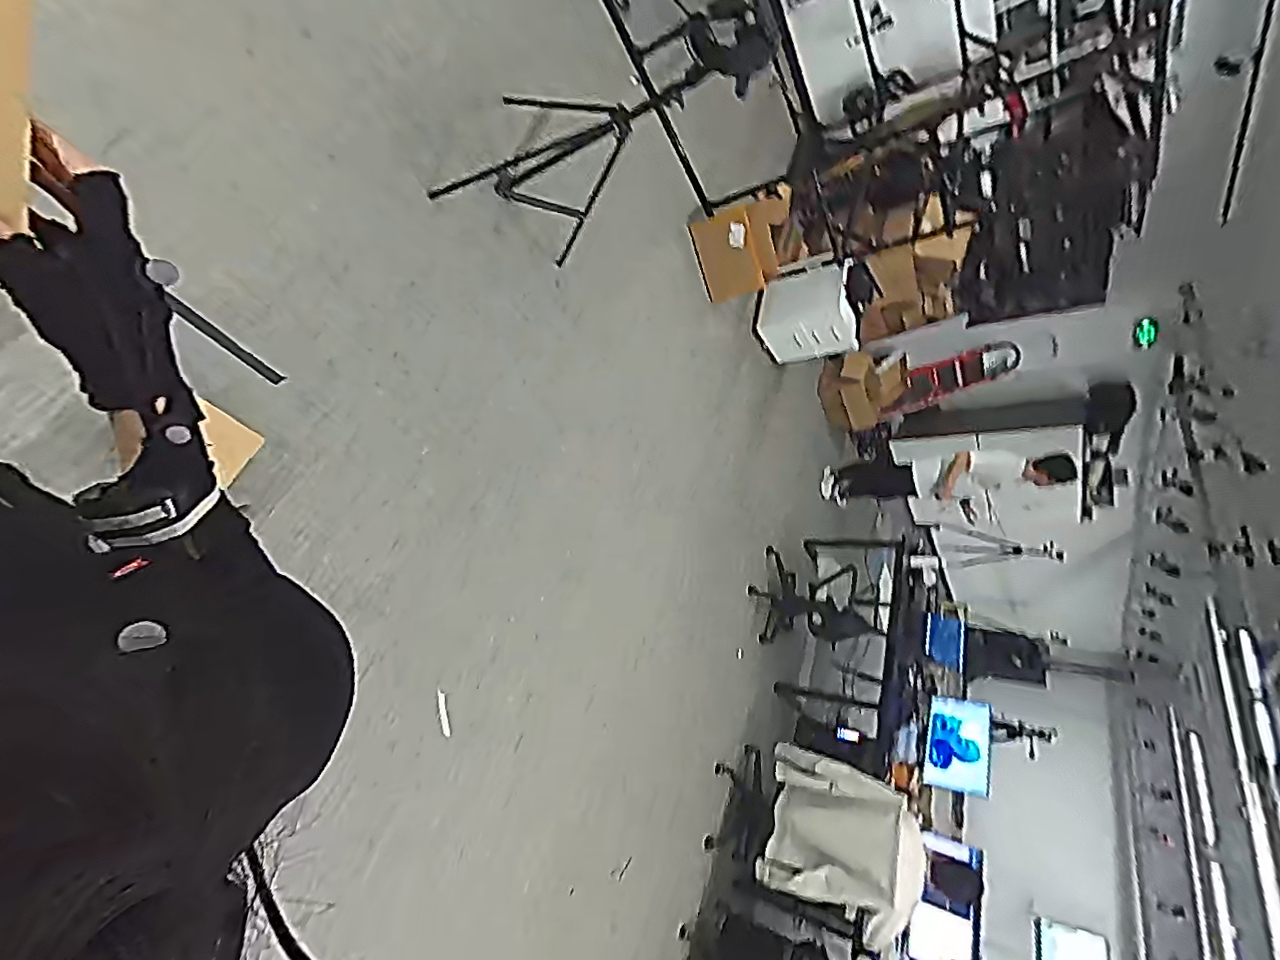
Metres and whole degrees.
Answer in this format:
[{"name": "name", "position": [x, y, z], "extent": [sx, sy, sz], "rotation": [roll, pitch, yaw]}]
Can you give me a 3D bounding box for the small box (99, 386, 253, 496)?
[{"name": "small box", "position": [-1.005, -0.077, 1.170], "extent": [0.179, 0.176, 0.168], "rotation": [50, 52, -41]}]
